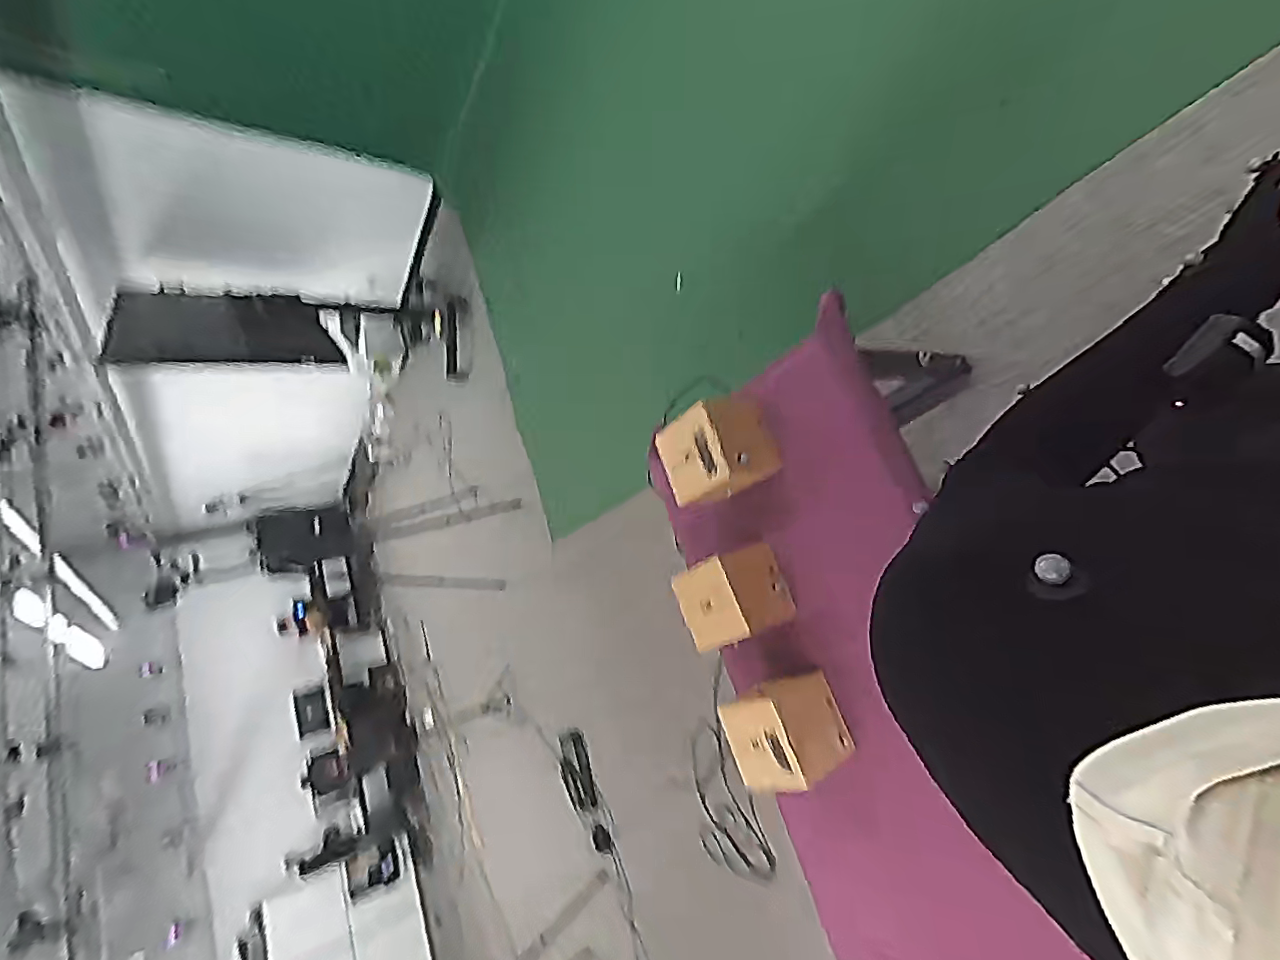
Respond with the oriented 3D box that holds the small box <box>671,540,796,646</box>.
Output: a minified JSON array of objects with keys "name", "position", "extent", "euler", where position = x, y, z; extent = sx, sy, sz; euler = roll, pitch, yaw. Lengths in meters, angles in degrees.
[{"name":"small box","position":[0.206,0.247,1.191],"extent":[0.179,0.176,0.168],"euler":[-40,67,46]}]

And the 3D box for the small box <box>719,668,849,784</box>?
[{"name":"small box","position":[0.303,0.505,1.117],"extent":[0.179,0.176,0.168],"euler":[-39,66,48]}]
